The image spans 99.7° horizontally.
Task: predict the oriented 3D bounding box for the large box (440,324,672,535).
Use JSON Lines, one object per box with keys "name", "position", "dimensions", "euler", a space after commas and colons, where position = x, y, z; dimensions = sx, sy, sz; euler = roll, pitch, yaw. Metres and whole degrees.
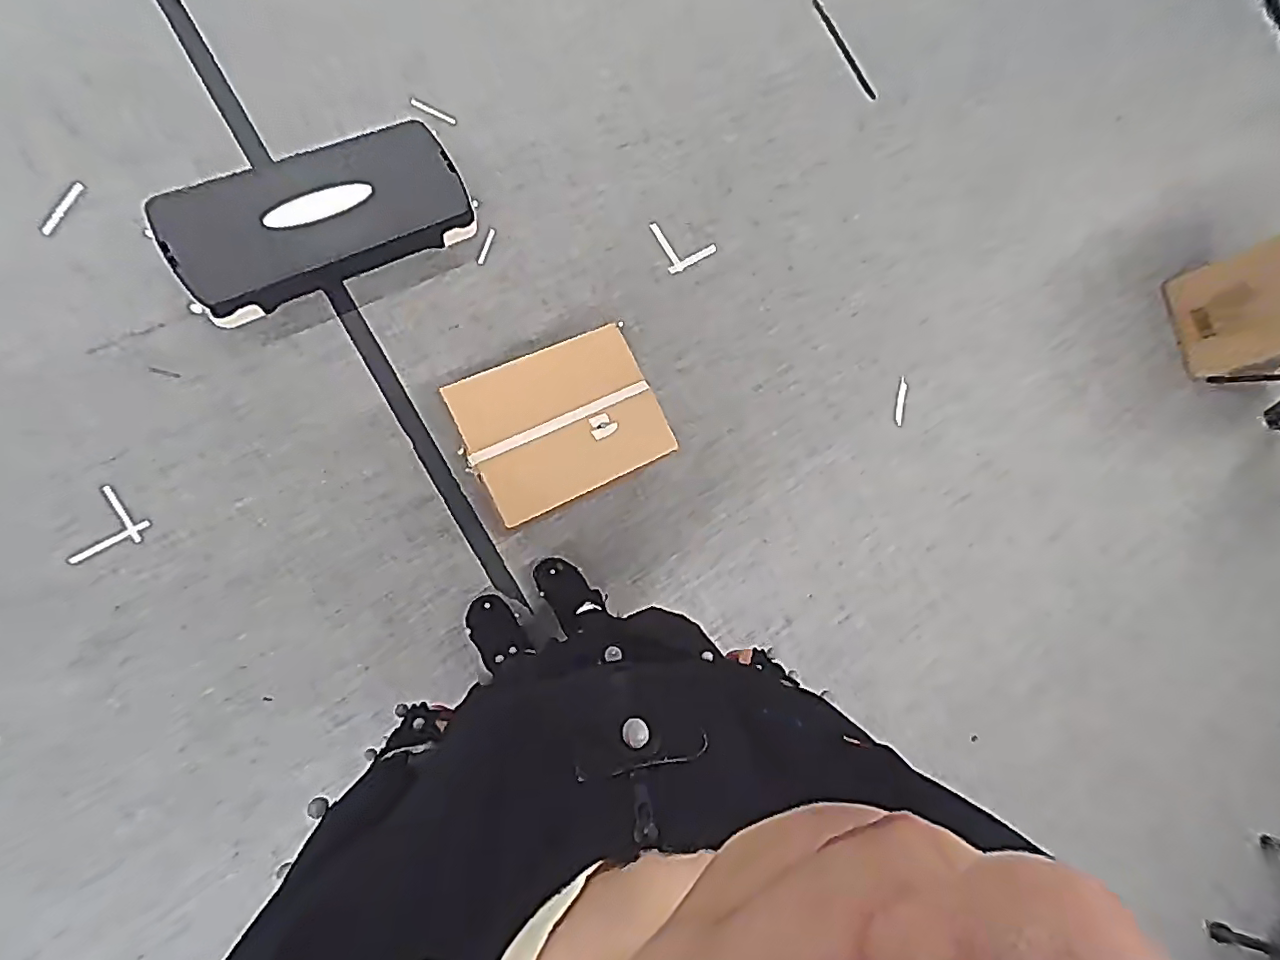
{"name": "large box", "position": [-0.203, -0.102, 1.271], "dimensions": [0.408, 0.320, 0.320], "euler": [-26, 89, -18]}
